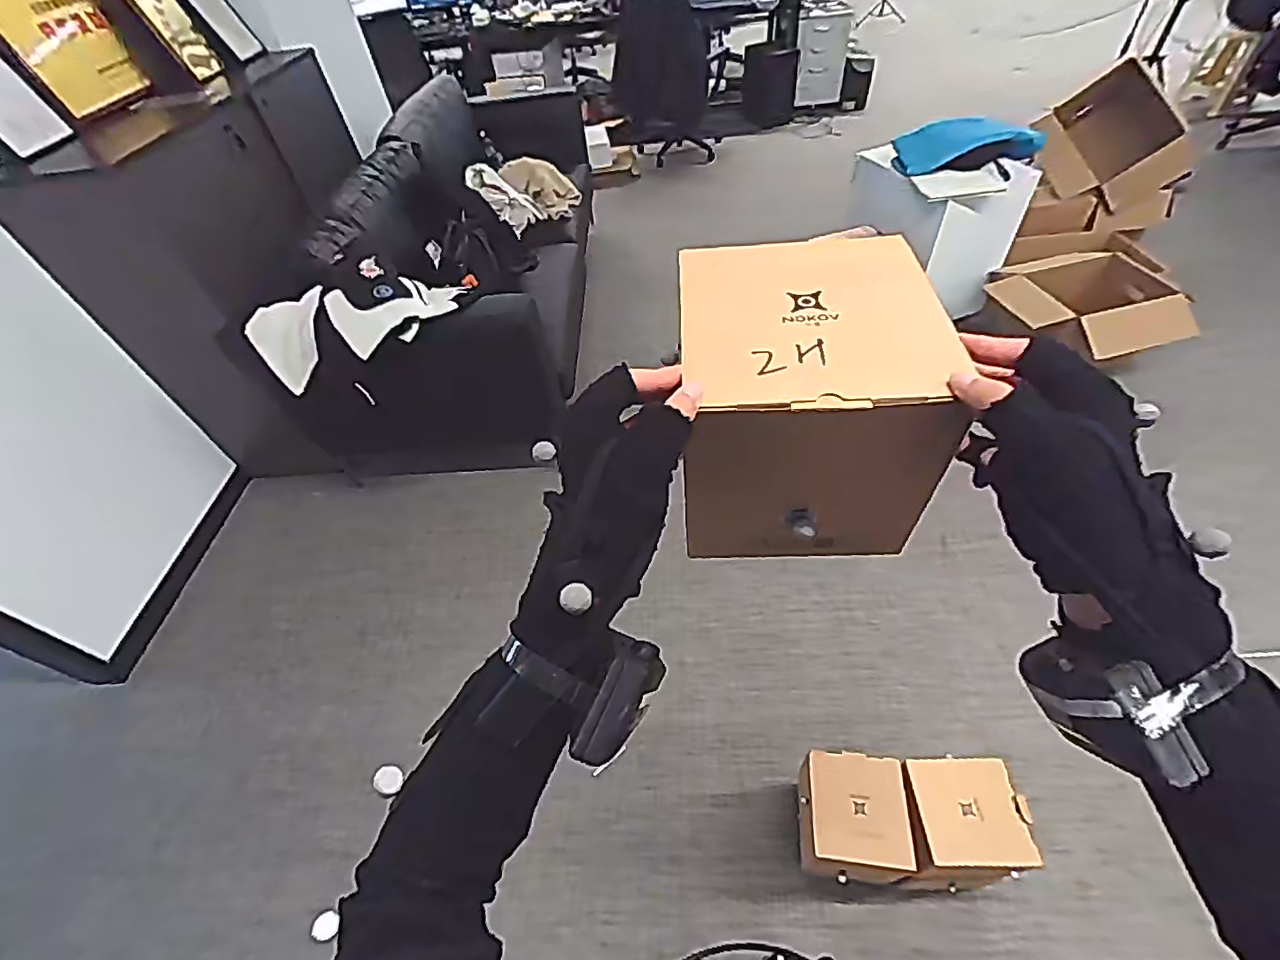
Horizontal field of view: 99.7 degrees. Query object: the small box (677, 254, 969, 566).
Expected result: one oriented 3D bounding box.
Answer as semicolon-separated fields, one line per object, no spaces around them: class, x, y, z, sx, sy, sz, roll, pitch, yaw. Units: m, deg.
small box;0.114;-0.052;0.422;0.168;0.176;0.179;-1;50;6
